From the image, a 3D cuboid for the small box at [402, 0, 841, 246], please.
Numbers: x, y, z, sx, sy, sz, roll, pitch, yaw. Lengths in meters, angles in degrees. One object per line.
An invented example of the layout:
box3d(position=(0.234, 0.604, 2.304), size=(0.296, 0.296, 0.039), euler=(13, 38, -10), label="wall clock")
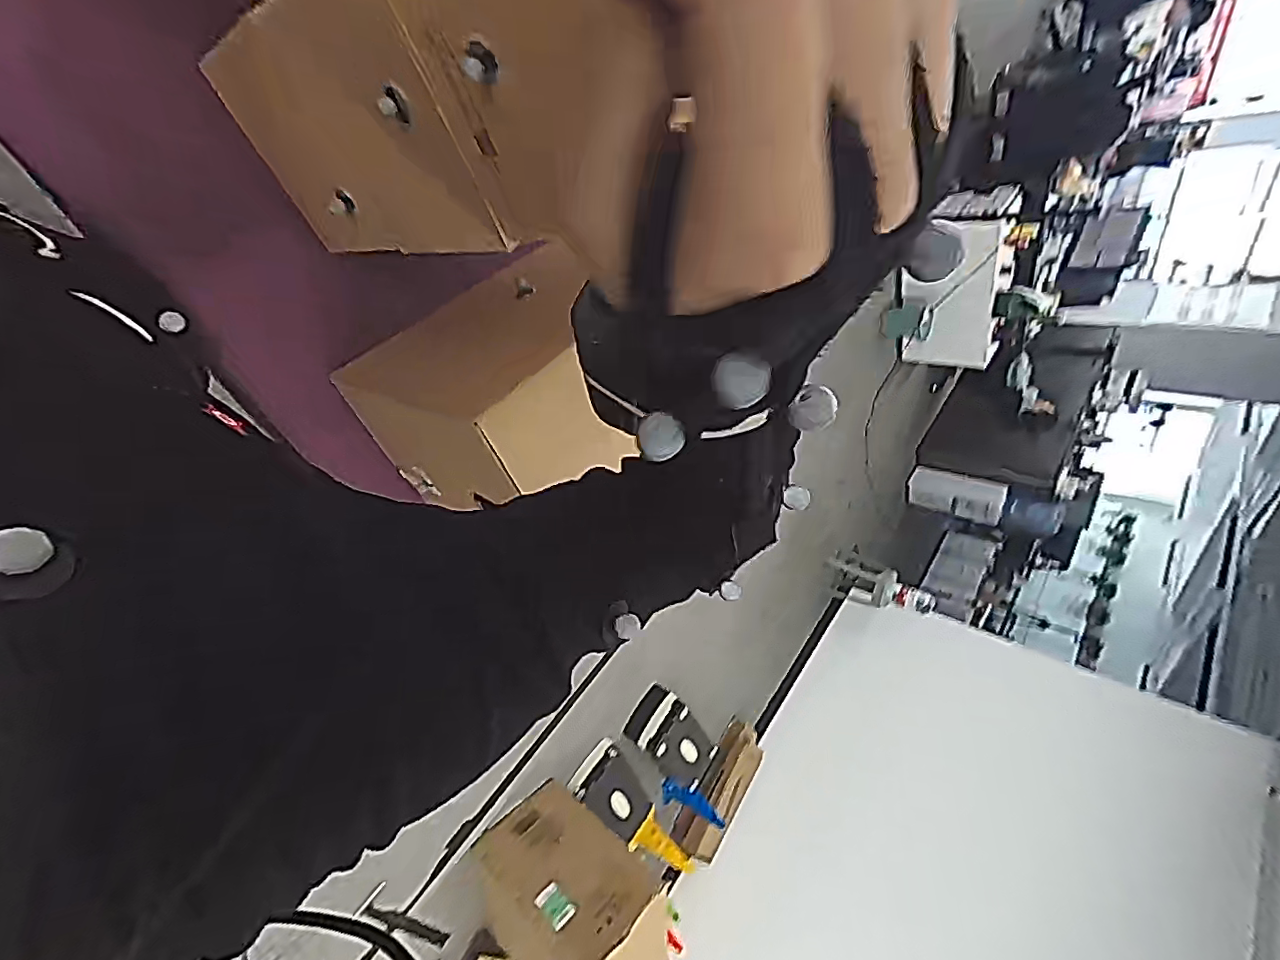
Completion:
box3d(position=(-0.002, -0.260, 0.319), size=(0.179, 0.176, 0.168), euler=(-49, 137, -24), label="small box")
